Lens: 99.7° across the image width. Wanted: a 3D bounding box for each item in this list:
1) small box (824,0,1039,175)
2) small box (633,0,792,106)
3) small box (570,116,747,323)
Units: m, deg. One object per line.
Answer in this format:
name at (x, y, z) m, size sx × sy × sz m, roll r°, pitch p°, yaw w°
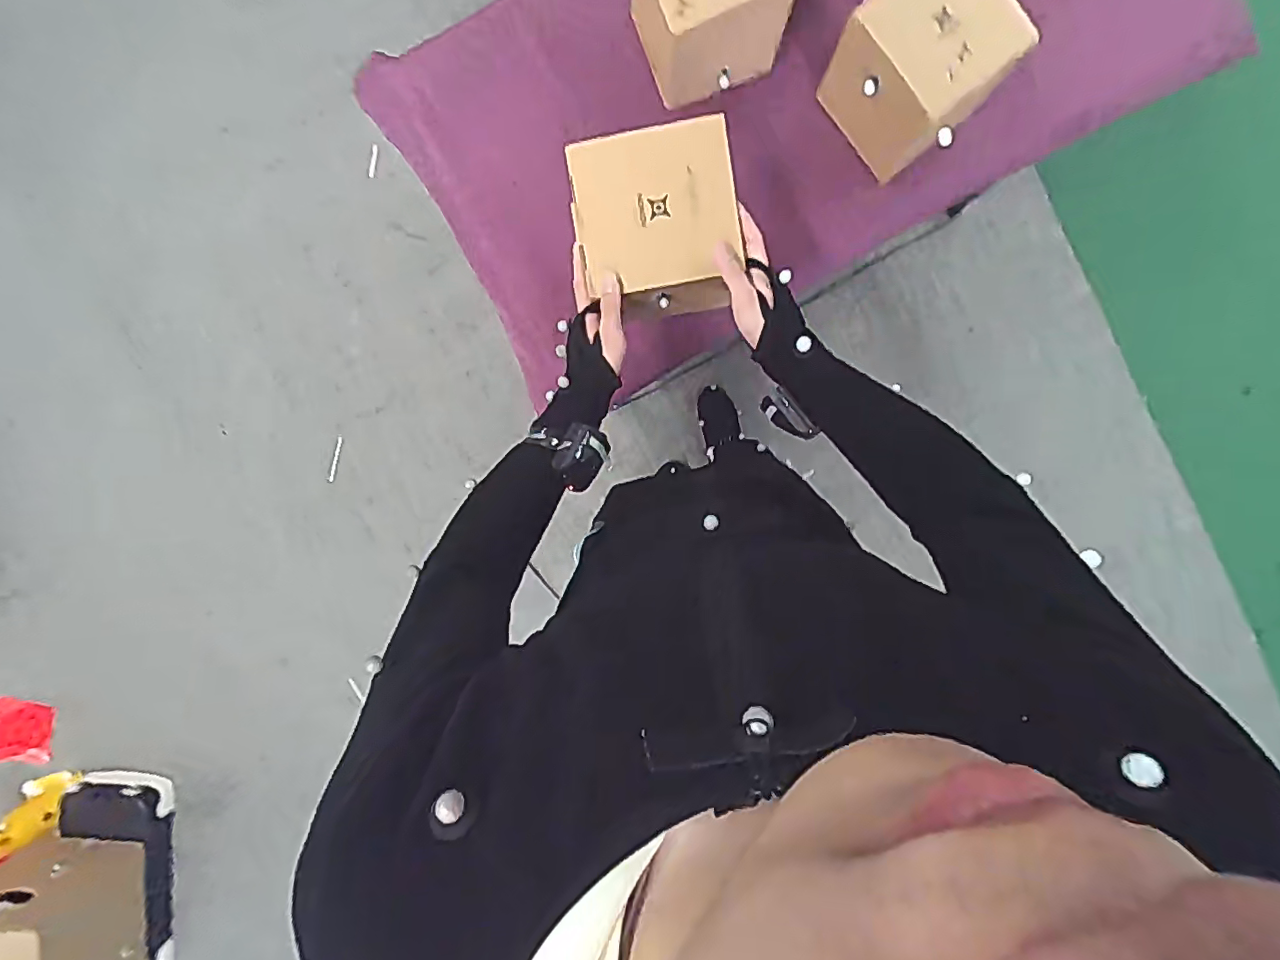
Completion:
small box at (0.390, -0.583, 0.762) m, size 0.168 × 0.176 × 0.179 m, roll -38°, pitch 91°, yaw 4°
small box at (0.093, -0.683, 0.765) m, size 0.179 × 0.176 × 0.168 m, roll -20°, pitch 92°, yaw 2°
small box at (0.025, -0.298, 0.658) m, size 0.179 × 0.176 × 0.168 m, roll -8°, pitch 95°, yaw 4°
